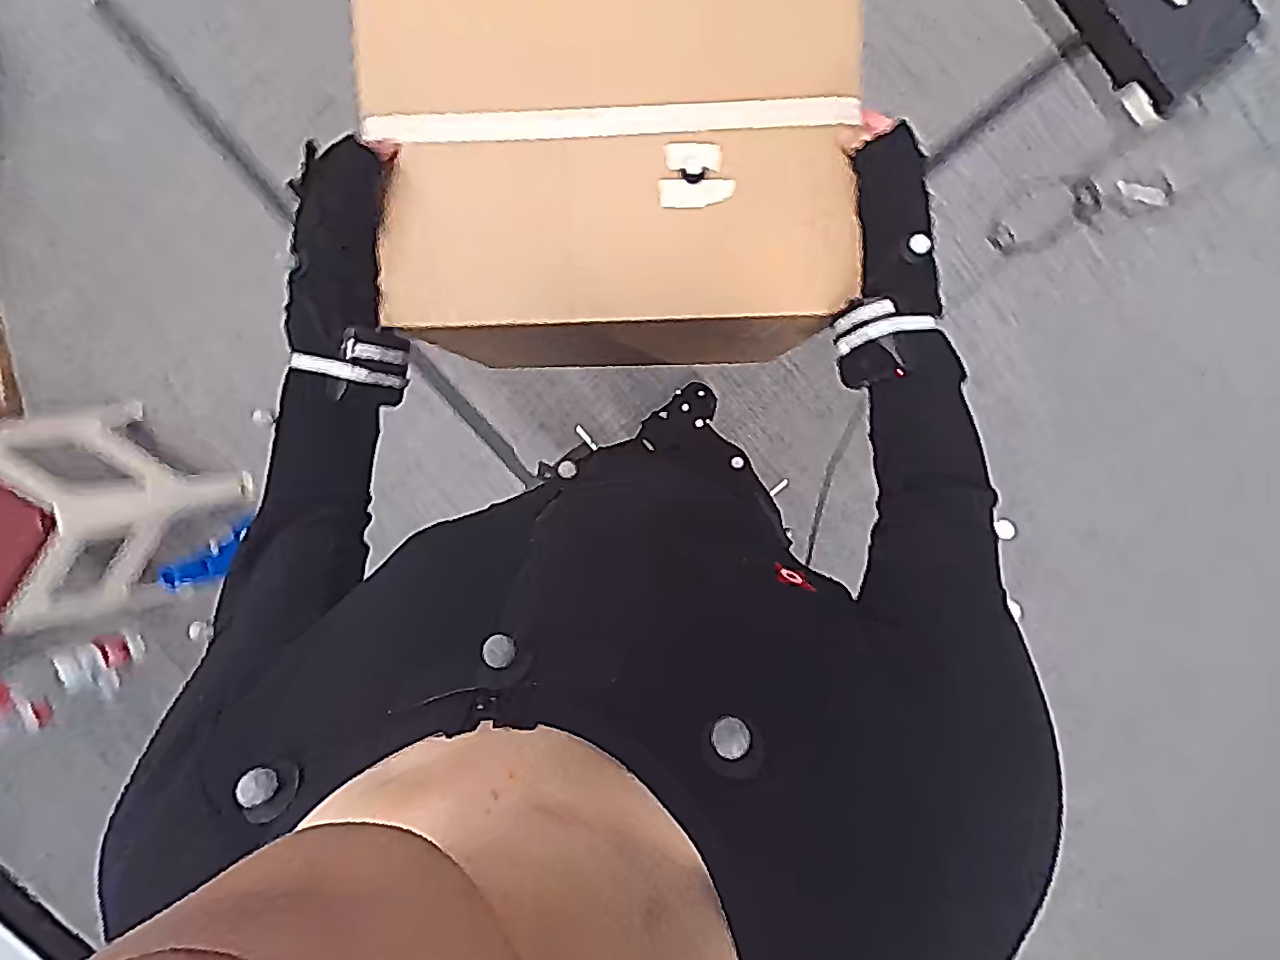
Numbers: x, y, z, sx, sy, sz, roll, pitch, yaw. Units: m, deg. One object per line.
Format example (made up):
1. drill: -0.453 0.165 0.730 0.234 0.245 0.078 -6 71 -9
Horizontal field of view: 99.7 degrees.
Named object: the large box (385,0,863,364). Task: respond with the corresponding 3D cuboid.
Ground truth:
1. large box: -0.013 -0.312 0.603 0.408 0.320 0.320 -1 95 0
